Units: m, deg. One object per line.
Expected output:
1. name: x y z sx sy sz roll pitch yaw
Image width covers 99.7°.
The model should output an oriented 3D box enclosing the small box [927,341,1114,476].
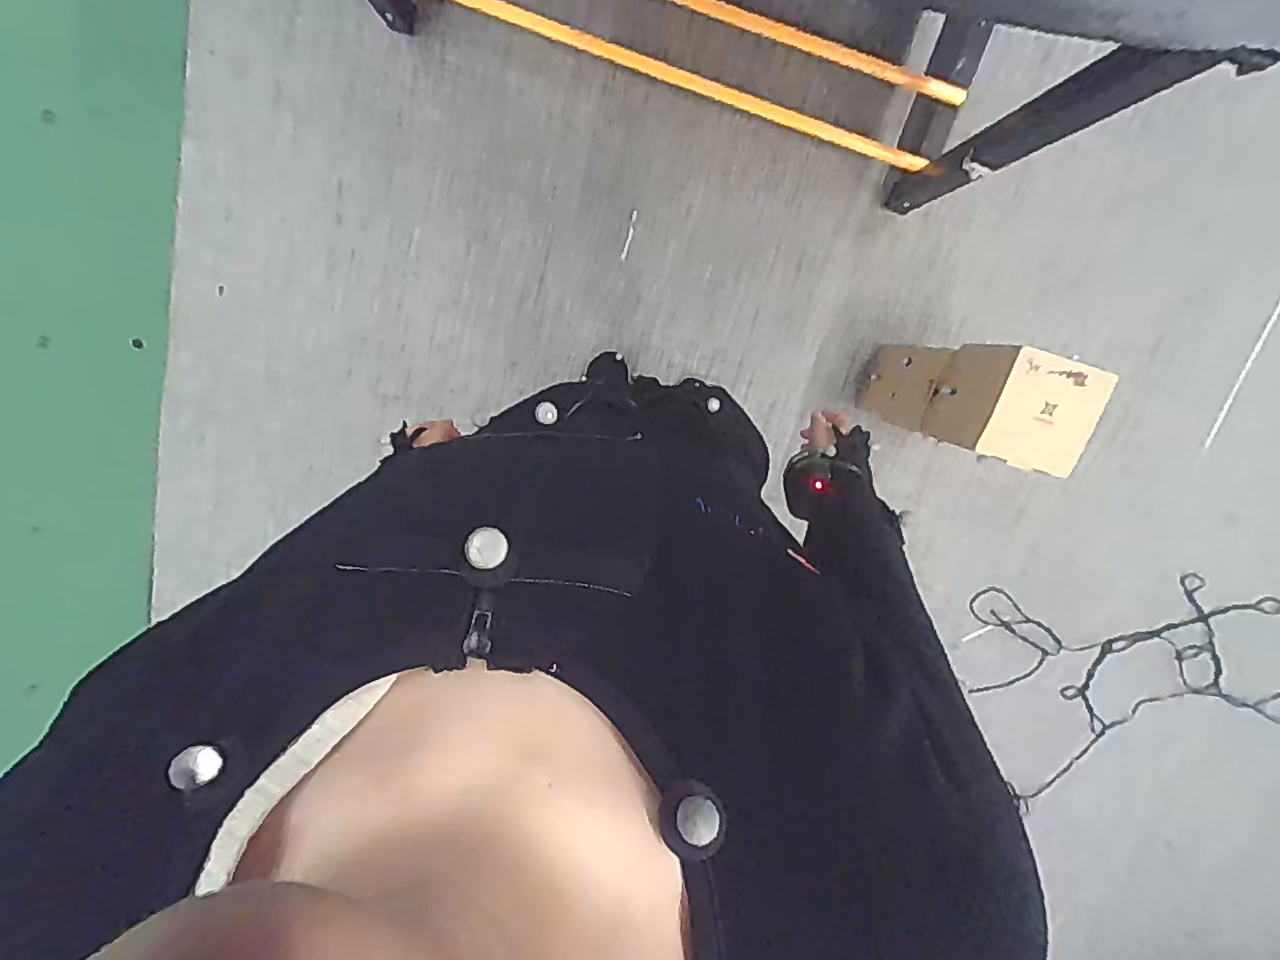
1. small box: 0.627 -0.129 0.922 0.168 0.176 0.179 16 104 -5

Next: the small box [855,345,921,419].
1. small box: 0.632 -0.206 1.241 0.179 0.176 0.168 17 103 -5

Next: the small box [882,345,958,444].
1. small box: 0.621 -0.165 1.082 0.179 0.176 0.168 15 104 -5
